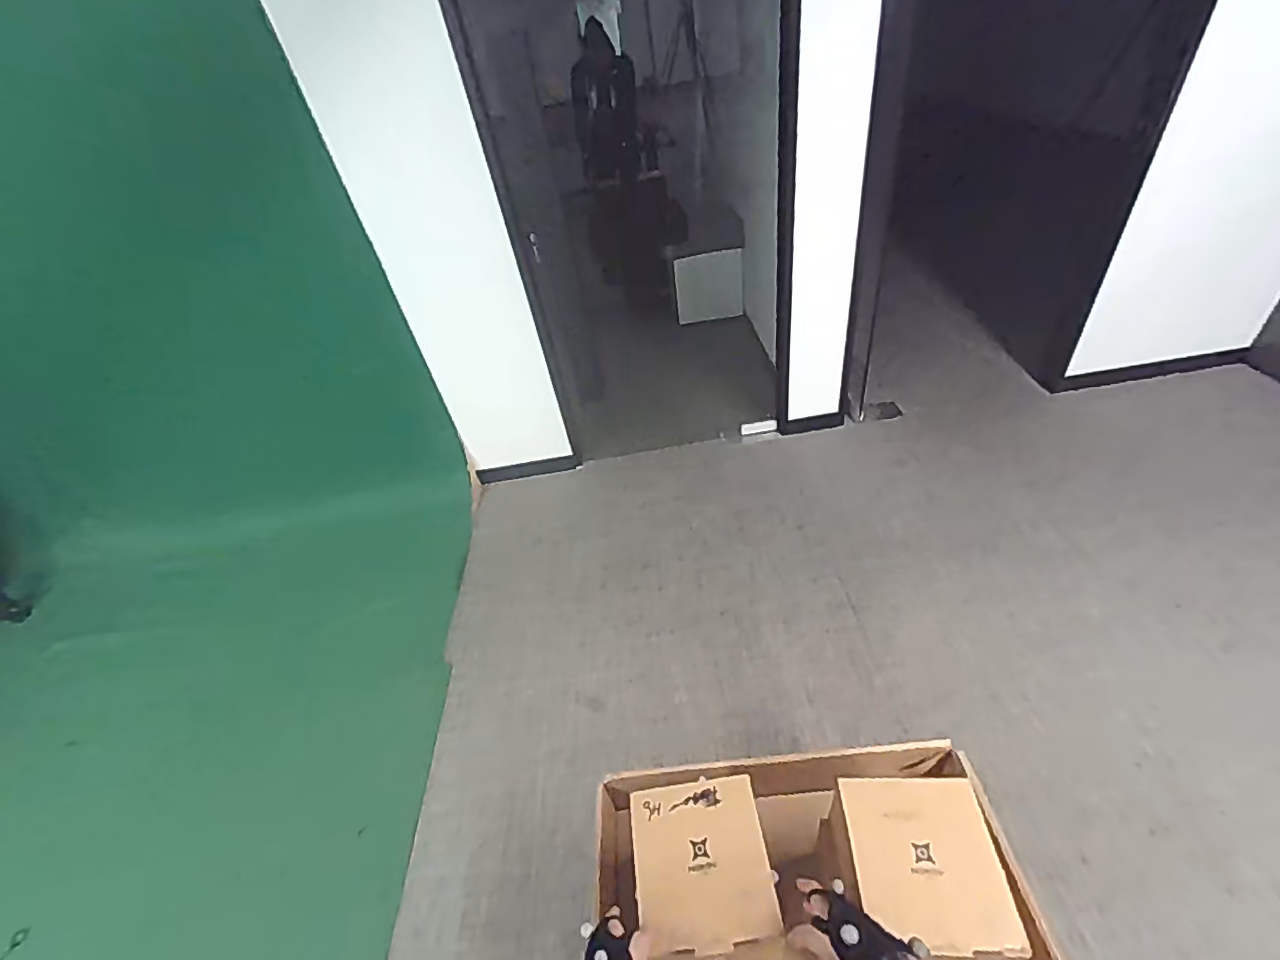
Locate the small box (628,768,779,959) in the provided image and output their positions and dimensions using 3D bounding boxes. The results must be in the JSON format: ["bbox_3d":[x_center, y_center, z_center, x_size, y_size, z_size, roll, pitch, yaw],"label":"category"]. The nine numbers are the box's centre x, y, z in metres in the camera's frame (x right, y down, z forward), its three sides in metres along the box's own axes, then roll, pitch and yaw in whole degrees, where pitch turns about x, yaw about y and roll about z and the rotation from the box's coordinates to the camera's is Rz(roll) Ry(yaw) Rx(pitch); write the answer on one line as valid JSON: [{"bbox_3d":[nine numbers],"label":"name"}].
[{"bbox_3d":[0.082,0.513,0.718,0.168,0.176,0.179,-9,42,1],"label":"small box"}]

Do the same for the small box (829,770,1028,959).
[{"bbox_3d":[0.345,0.493,0.688,0.168,0.176,0.179,-4,42,8],"label":"small box"}]
